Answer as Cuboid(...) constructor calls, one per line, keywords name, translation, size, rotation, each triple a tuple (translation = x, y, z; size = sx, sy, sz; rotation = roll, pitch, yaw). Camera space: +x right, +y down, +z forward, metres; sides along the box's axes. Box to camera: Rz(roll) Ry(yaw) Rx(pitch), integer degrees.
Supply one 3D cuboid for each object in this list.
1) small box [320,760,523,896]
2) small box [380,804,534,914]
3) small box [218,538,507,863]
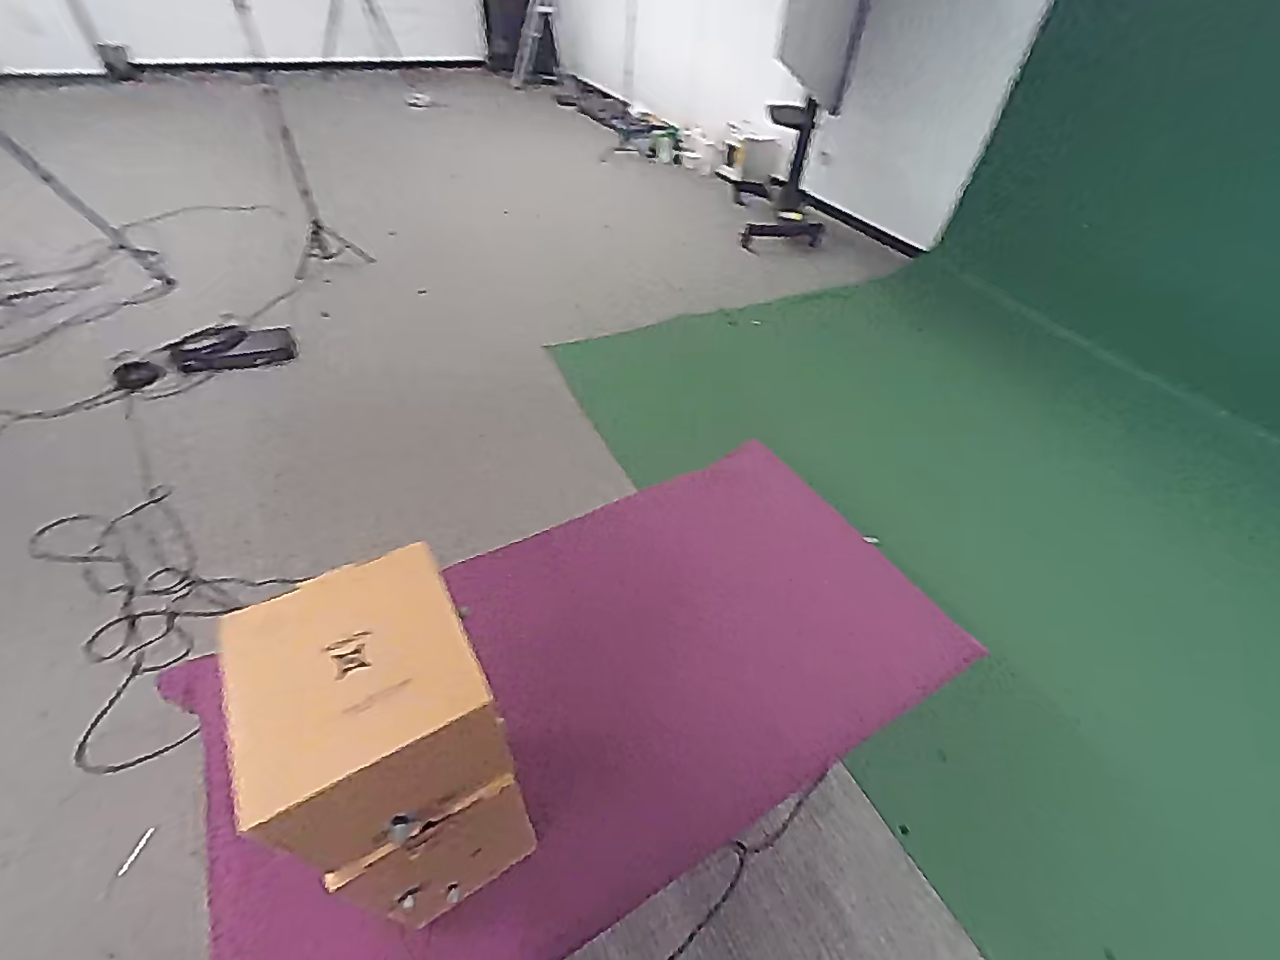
Cuboid(name="small box", translation=(-0.237, 0.308, 0.582), size=(0.168, 0.176, 0.179), rotation=(-22, 51, -24))
Cuboid(name="small box", translation=(-0.249, 0.421, 0.701), size=(0.168, 0.176, 0.179), rotation=(-23, 52, -24))
Cuboid(name="small box", translation=(-0.229, 0.188, 0.471), size=(0.168, 0.176, 0.179), rotation=(-22, 52, -23))
